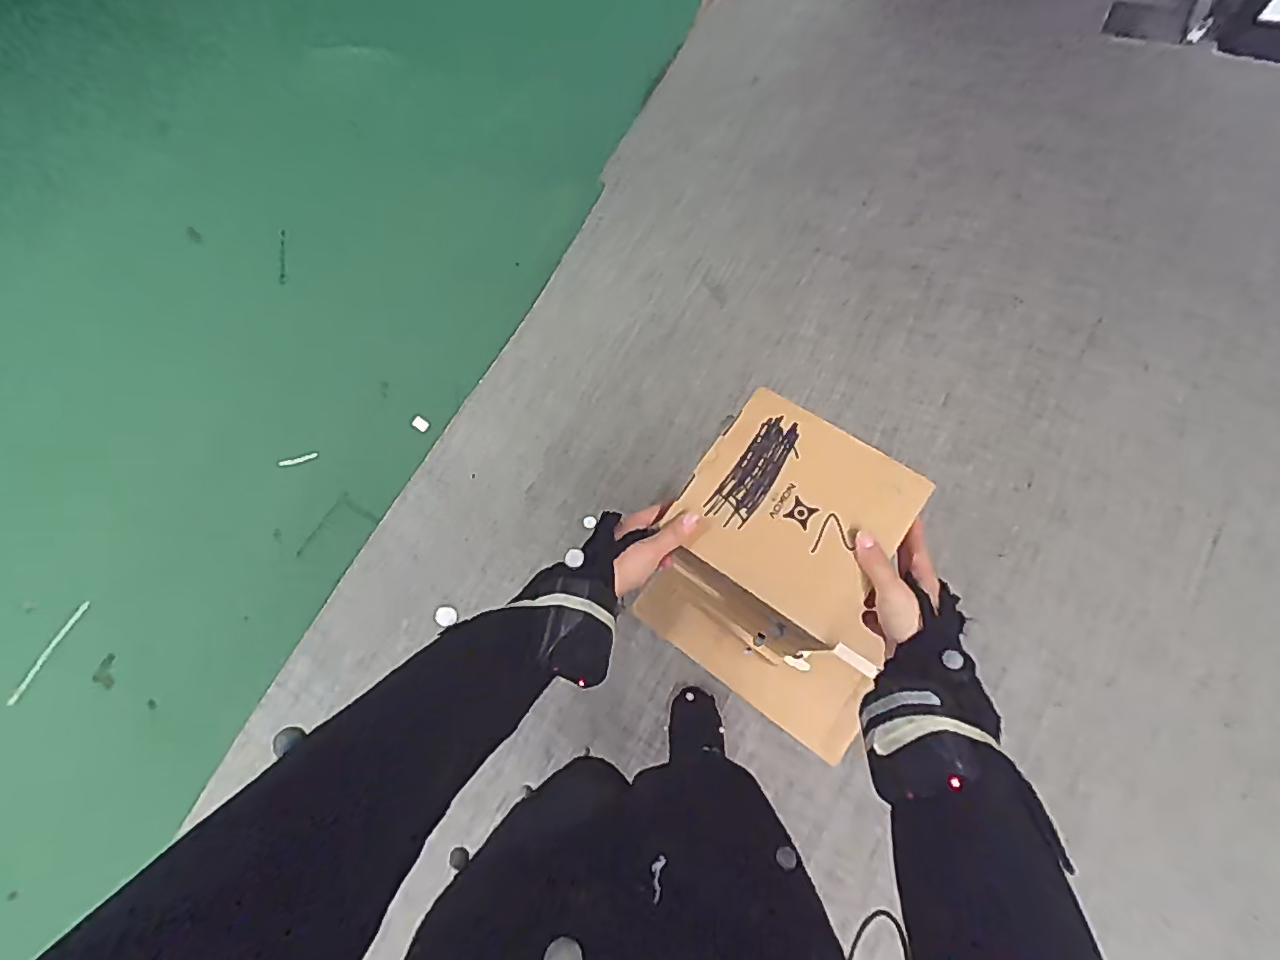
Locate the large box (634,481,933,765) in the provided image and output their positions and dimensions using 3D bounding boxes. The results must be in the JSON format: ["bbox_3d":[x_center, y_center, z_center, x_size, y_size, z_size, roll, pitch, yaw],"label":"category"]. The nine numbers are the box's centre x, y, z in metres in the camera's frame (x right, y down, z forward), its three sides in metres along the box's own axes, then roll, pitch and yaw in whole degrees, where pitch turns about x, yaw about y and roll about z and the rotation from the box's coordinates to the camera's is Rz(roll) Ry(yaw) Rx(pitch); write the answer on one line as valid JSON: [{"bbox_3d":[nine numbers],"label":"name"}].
[{"bbox_3d":[0.252,0.262,1.050,0.408,0.320,0.320,33,82,17],"label":"large box"}]

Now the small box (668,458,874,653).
[{"bbox_3d":[0.157,0.106,0.689,0.179,0.176,0.168,34,79,17],"label":"small box"}]

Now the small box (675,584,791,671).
[{"bbox_3d":[0.178,0.171,0.835,0.179,0.176,0.168,34,79,19],"label":"small box"}]
